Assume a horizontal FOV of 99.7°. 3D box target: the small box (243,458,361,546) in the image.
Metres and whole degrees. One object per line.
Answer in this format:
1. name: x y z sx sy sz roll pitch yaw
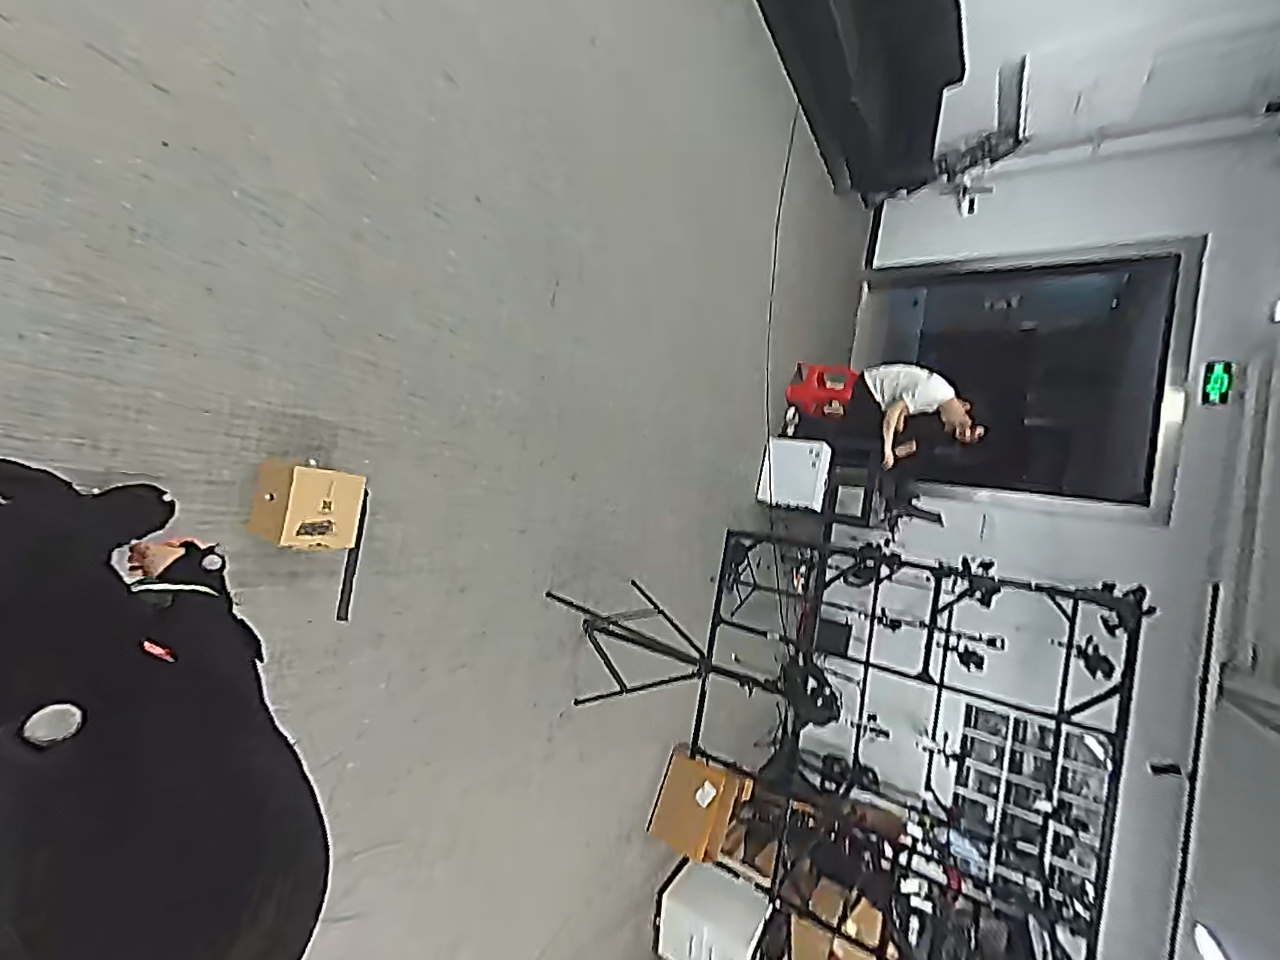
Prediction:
1. small box: -0.797 0.052 1.271 0.168 0.176 0.179 16 82 -57
